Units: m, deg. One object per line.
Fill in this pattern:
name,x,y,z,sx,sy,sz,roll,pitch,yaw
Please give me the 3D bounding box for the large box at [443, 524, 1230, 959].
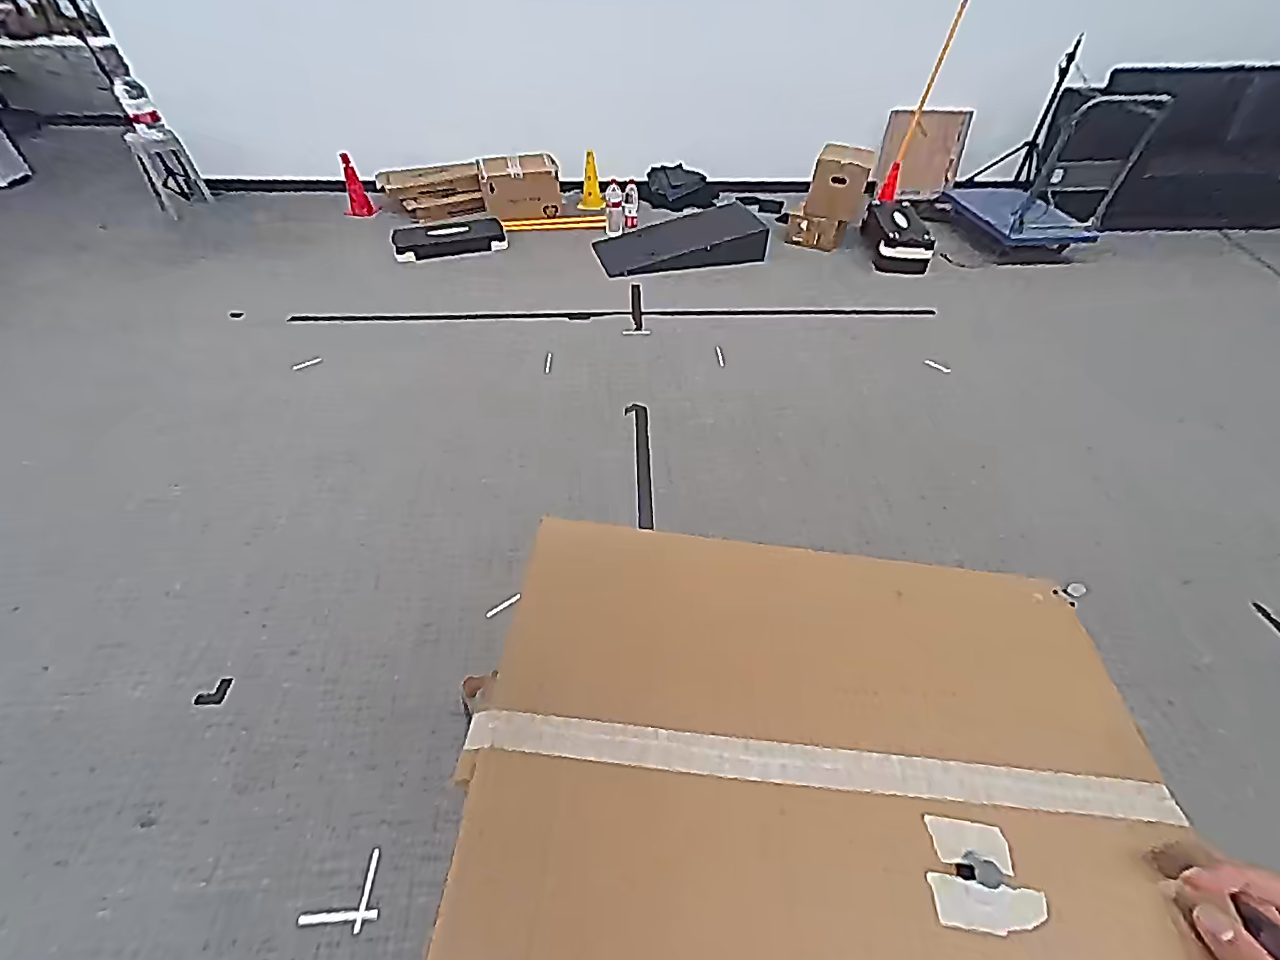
large box,0.095,0.268,0.434,0.408,0.320,0.320,8,48,-2
